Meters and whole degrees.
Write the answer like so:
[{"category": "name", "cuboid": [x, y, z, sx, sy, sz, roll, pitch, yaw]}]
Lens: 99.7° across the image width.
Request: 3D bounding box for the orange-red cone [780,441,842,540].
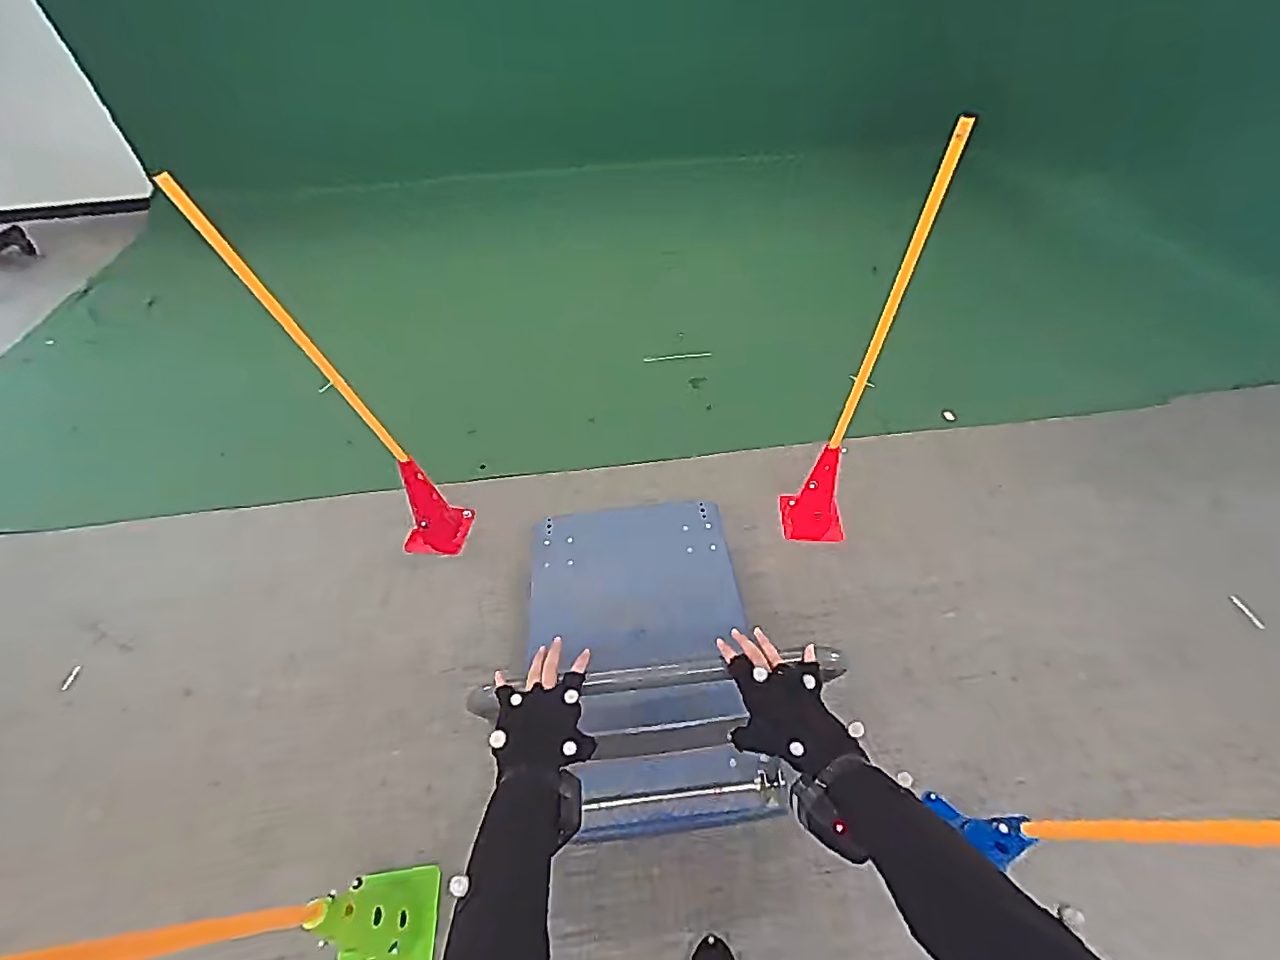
[{"category": "orange-red cone", "cuboid": [0.586, 0.015, 1.751, 0.198, 0.360, 0.199, 2, 49, 5]}]
